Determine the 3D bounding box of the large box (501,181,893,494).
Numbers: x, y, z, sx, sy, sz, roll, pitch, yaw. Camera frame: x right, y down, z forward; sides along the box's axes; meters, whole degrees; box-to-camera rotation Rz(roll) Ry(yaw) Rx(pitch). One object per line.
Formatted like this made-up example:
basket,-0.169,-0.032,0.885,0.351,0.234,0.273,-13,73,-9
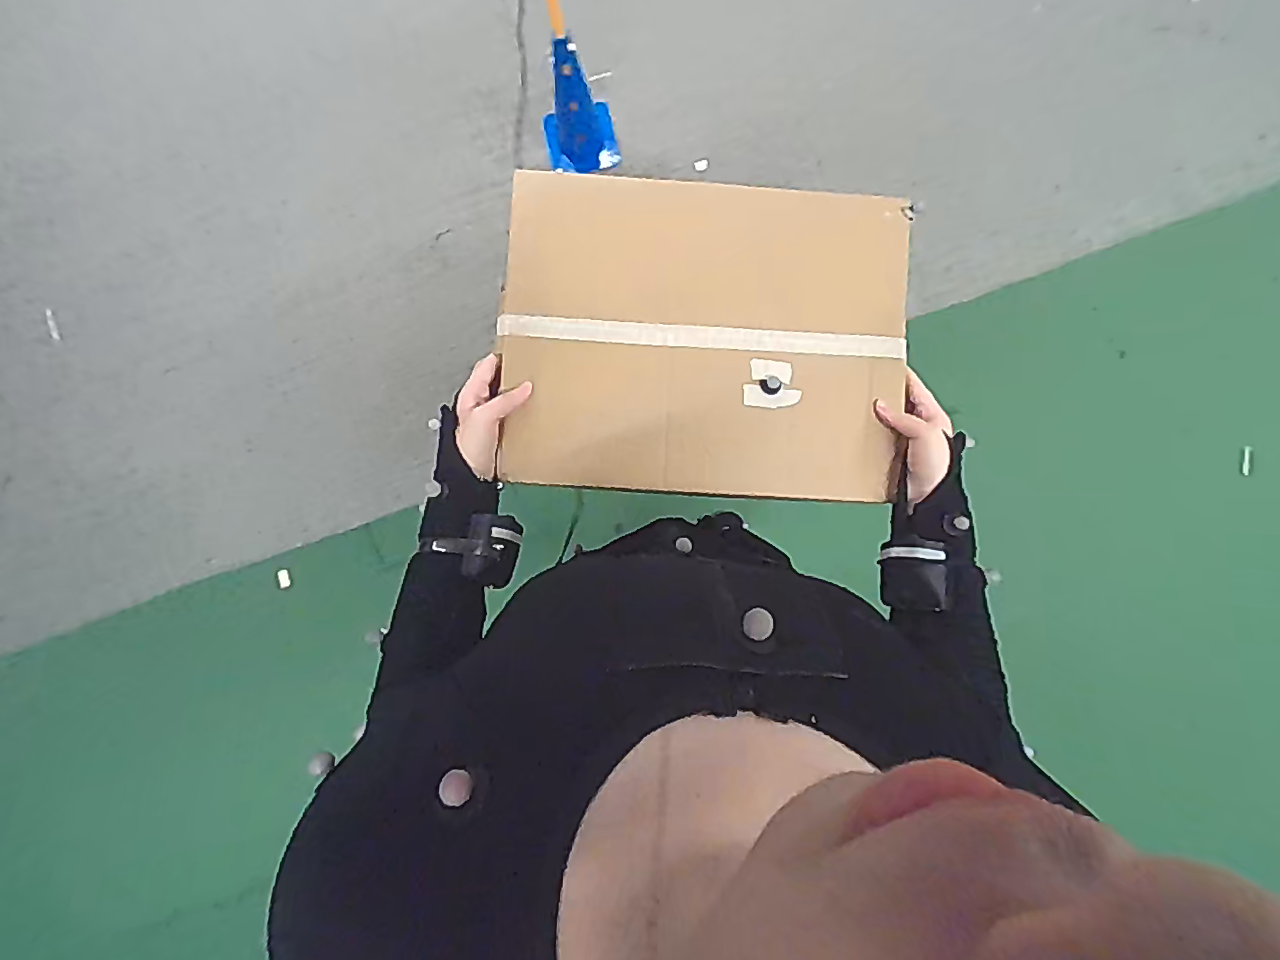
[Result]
large box,0.053,-0.140,0.697,0.408,0.320,0.320,2,89,-3

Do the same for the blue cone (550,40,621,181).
blue cone,-0.167,-0.987,1.416,0.193,0.380,0.192,-12,87,1
